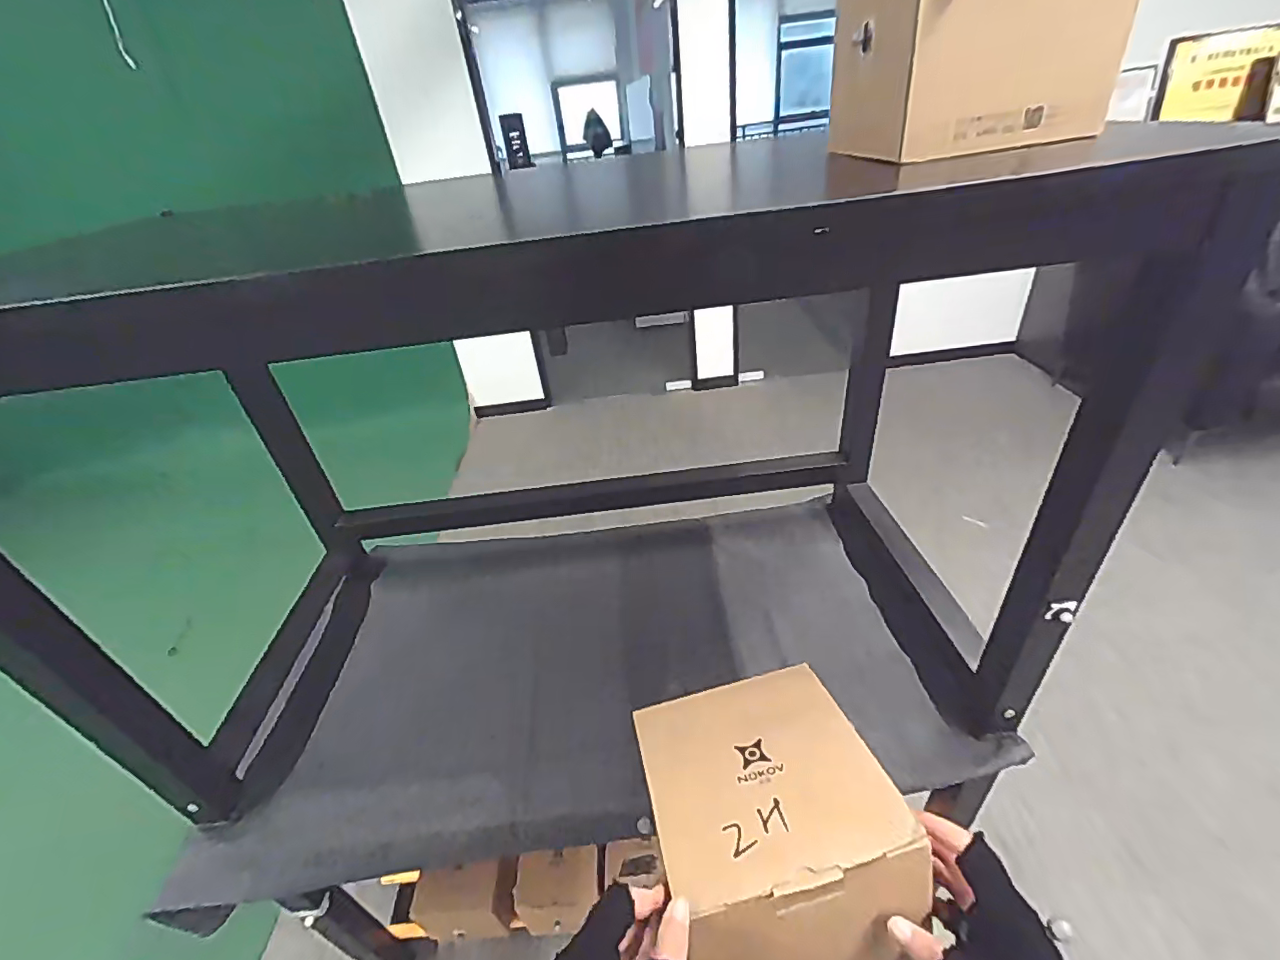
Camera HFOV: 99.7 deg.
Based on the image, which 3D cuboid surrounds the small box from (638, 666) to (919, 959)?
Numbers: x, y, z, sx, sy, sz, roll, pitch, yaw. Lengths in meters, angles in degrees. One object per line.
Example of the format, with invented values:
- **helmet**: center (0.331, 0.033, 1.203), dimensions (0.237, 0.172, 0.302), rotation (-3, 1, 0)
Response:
- **small box**: center (0.102, 0.292, 0.444), dimensions (0.168, 0.176, 0.179), rotation (-14, 19, -4)
